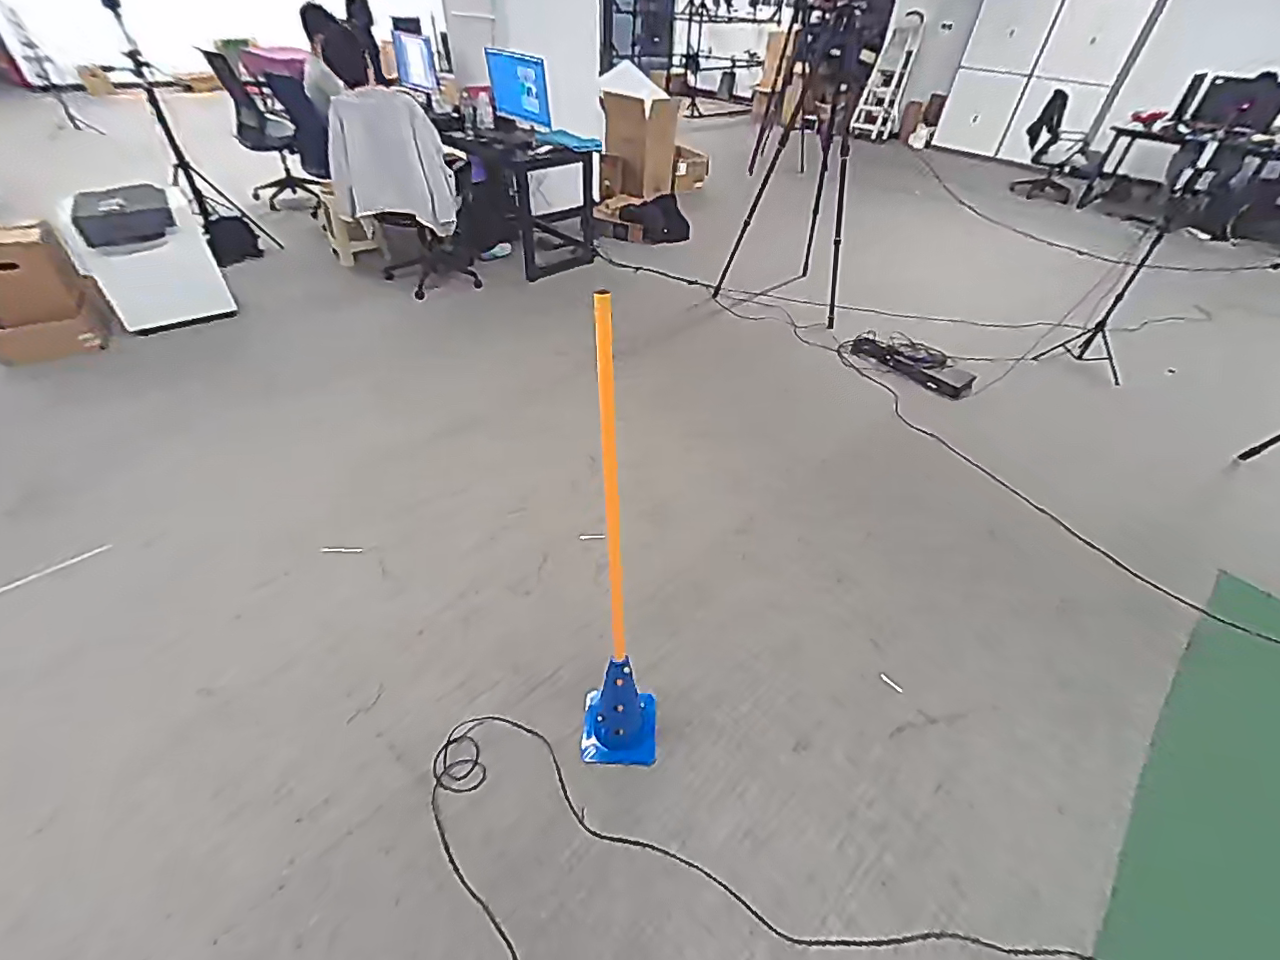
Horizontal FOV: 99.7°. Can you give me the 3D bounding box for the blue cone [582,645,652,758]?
[{"bbox_3d":[-0.057,0.543,1.384,0.192,0.380,0.193,2,40,-1],"label":"blue cone"}]
